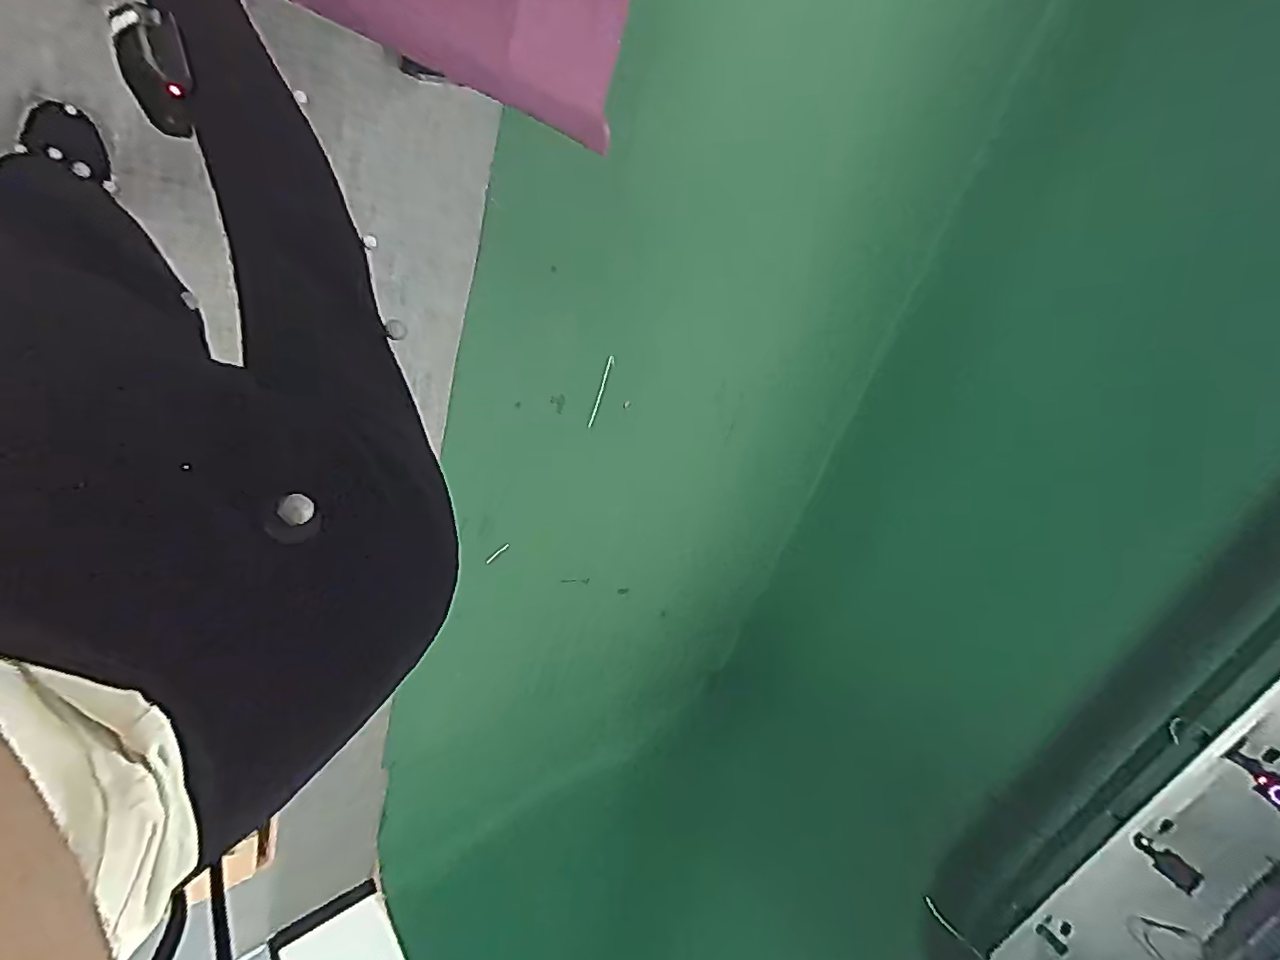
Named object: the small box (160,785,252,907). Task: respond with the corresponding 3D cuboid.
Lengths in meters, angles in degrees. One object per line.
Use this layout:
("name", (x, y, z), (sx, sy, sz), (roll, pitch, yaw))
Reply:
("small box", (-1.157, 0.964, 1.439), (0.168, 0.176, 0.179), (-4, 122, -47))
